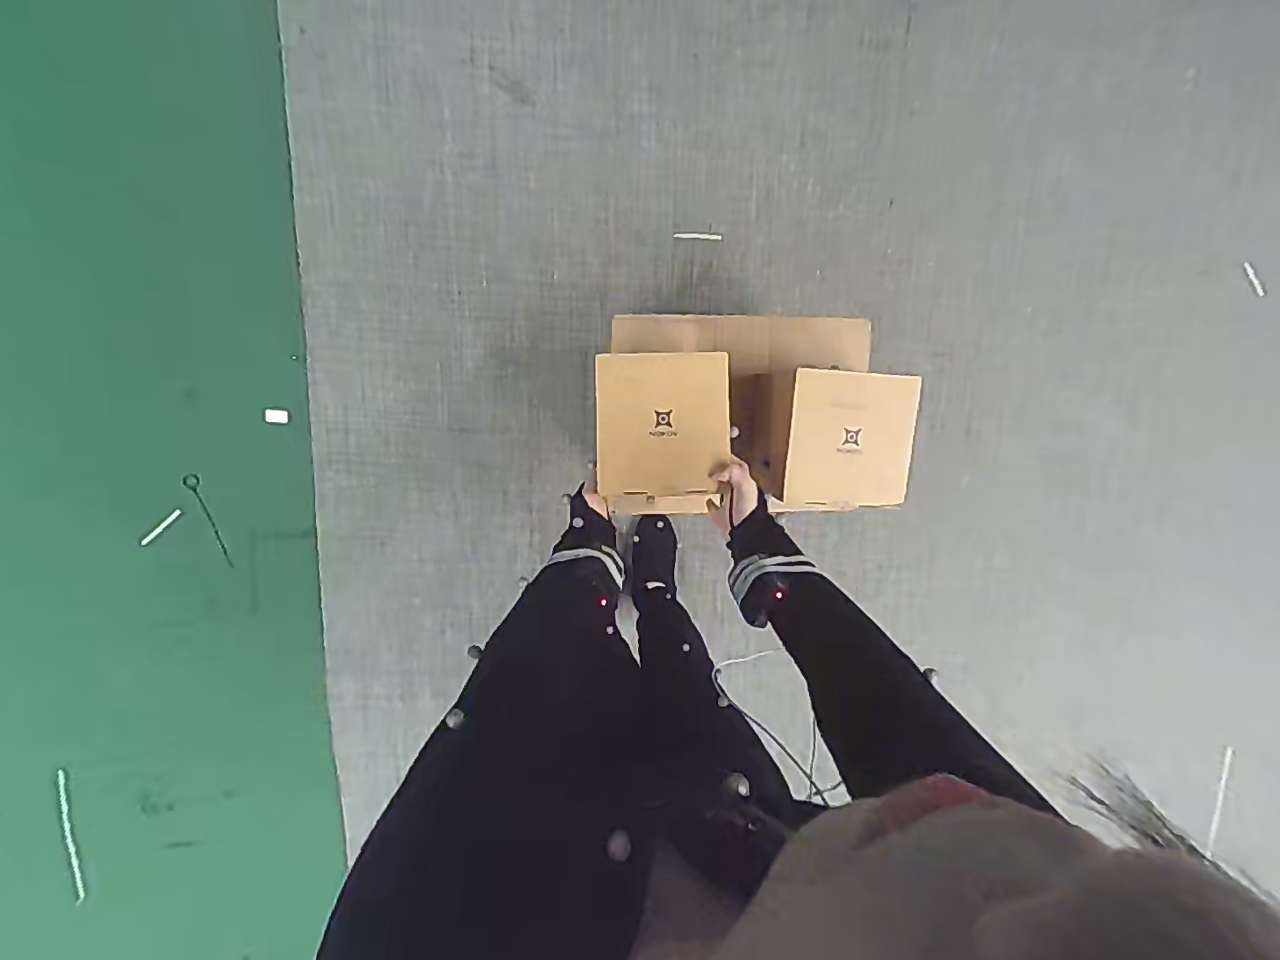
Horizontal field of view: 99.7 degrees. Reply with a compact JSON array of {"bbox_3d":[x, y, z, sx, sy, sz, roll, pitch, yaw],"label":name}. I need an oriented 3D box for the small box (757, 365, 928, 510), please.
[{"bbox_3d":[0.271,-0.063,0.765,0.168,0.176,0.179,3,98,-4],"label":"small box"}]

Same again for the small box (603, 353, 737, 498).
[{"bbox_3d":[0.033,-0.065,0.737,0.168,0.176,0.179,-2,89,-1],"label":"small box"}]
